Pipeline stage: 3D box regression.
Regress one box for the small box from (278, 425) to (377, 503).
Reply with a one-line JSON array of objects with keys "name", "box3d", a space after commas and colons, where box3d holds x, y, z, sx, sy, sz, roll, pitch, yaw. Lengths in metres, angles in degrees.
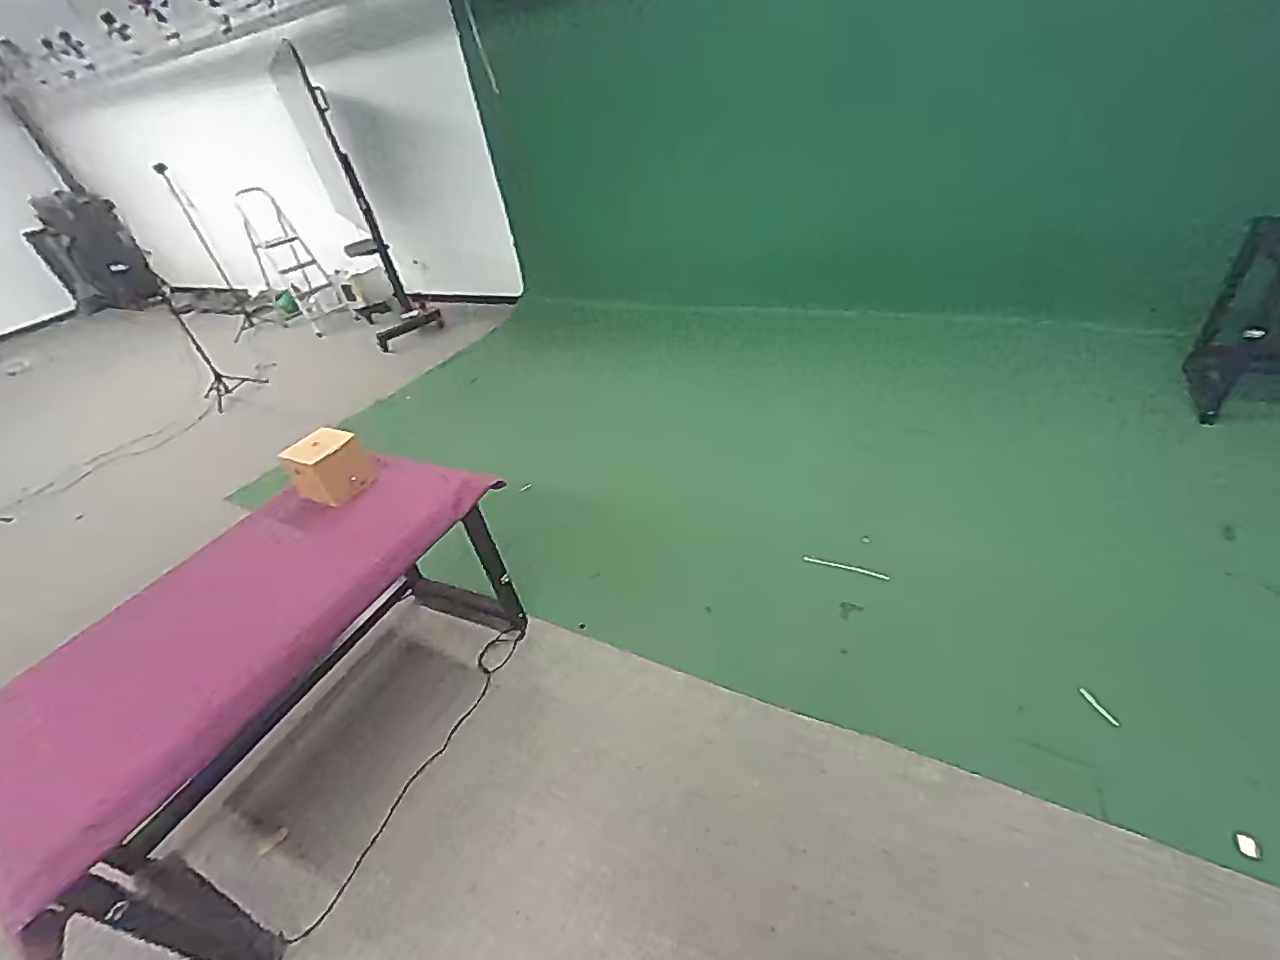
[{"name": "small box", "box3d": [-0.970, -0.049, 1.690, 0.179, 0.176, 0.168, 12, 44, 26]}]
